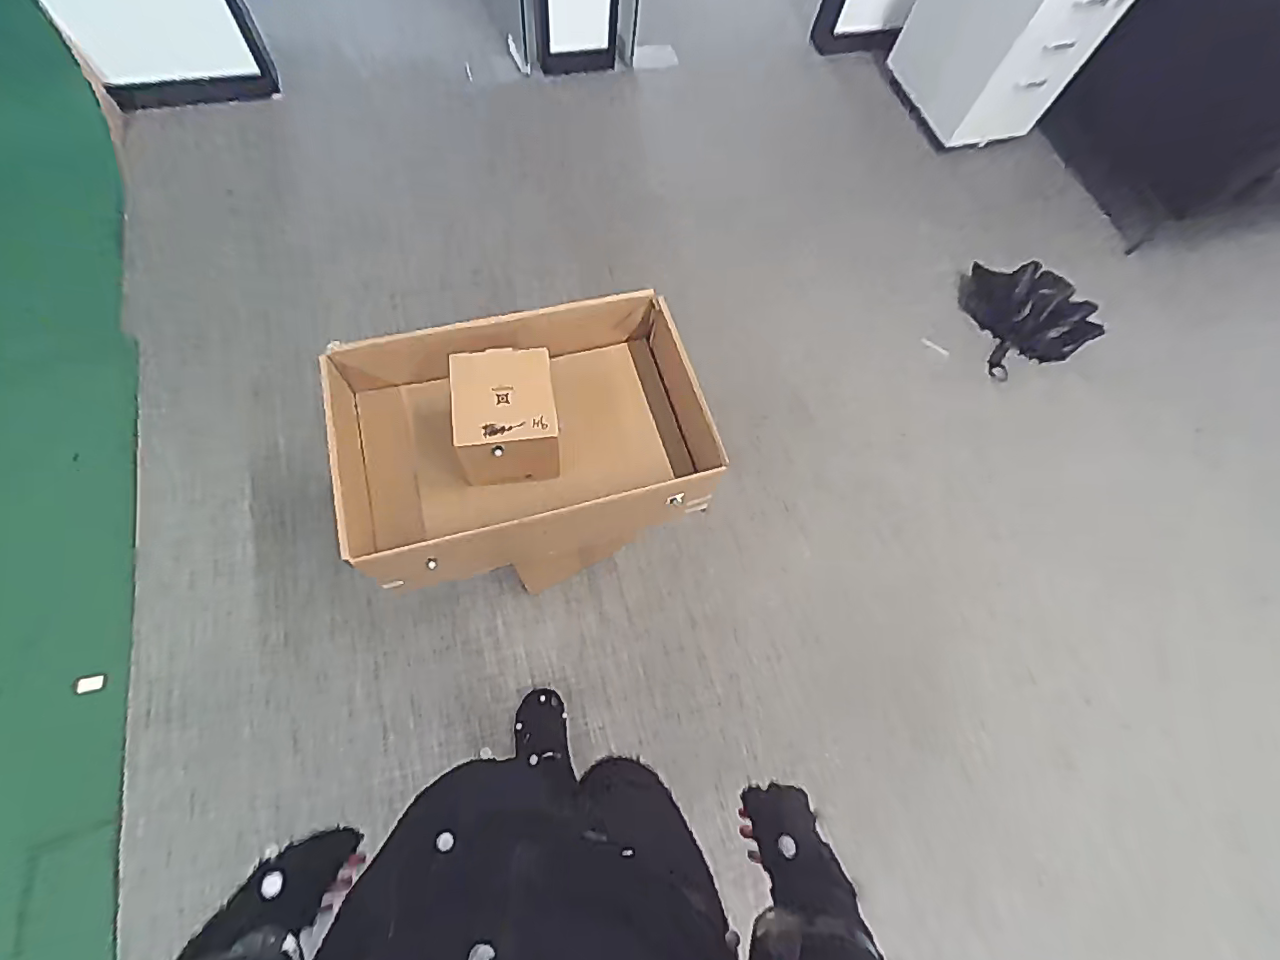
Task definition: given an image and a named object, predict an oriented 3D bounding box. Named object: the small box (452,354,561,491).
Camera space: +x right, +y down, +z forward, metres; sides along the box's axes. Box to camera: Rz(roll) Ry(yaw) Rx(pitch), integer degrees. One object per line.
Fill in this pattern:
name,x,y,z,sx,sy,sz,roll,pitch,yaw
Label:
small box,-0.233,-0.099,0.962,0.168,0.176,0.179,-7,67,-9
